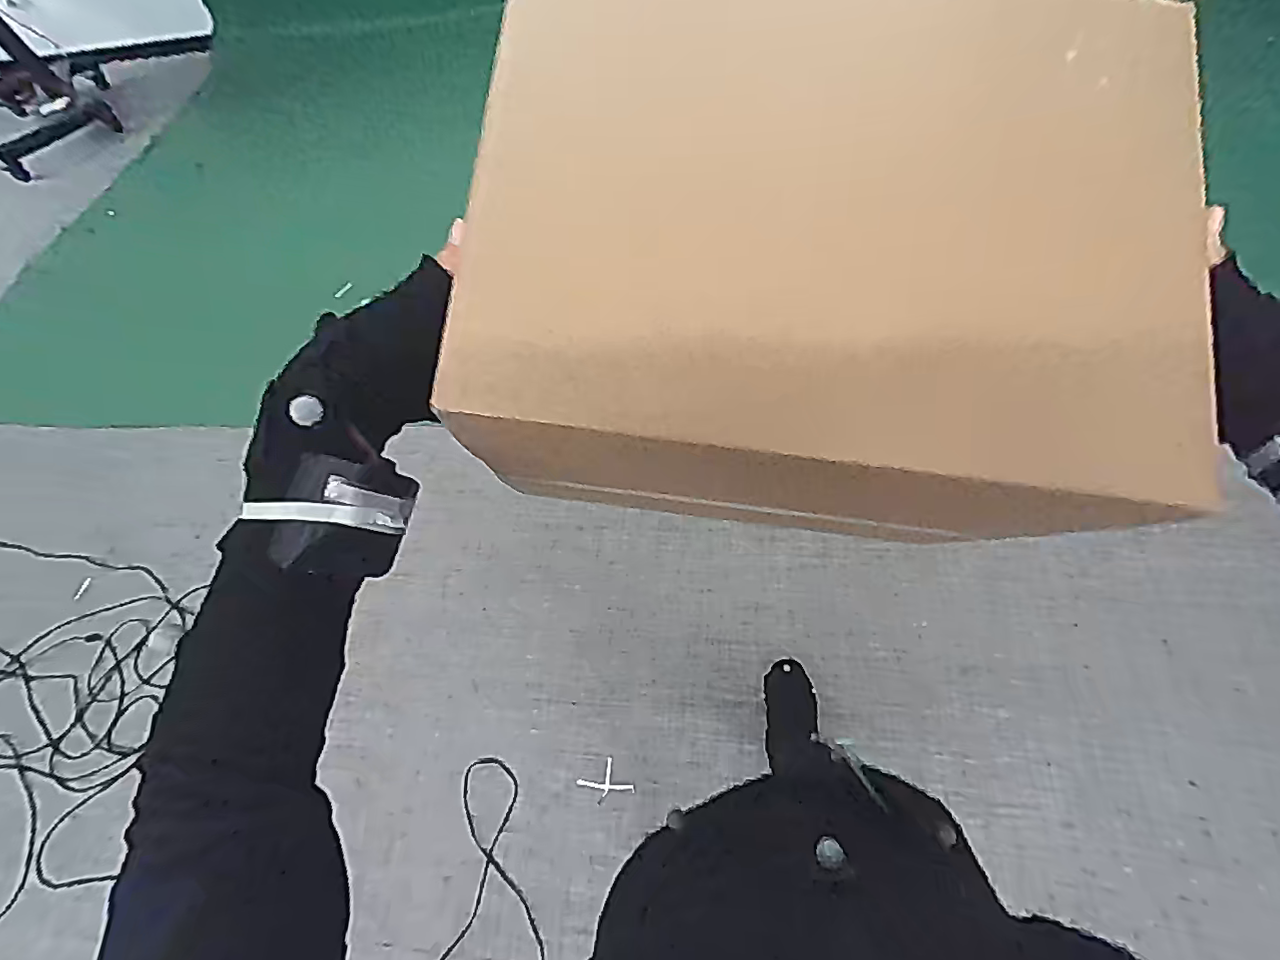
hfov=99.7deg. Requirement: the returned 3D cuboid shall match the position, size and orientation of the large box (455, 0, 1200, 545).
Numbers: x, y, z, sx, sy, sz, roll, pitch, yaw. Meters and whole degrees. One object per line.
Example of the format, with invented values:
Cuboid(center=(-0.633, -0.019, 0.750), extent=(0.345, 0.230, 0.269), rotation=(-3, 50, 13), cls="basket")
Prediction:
Cuboid(center=(0.110, -0.134, 0.447), extent=(0.408, 0.320, 0.320), rotation=(8, 80, -1), cls="large box")
